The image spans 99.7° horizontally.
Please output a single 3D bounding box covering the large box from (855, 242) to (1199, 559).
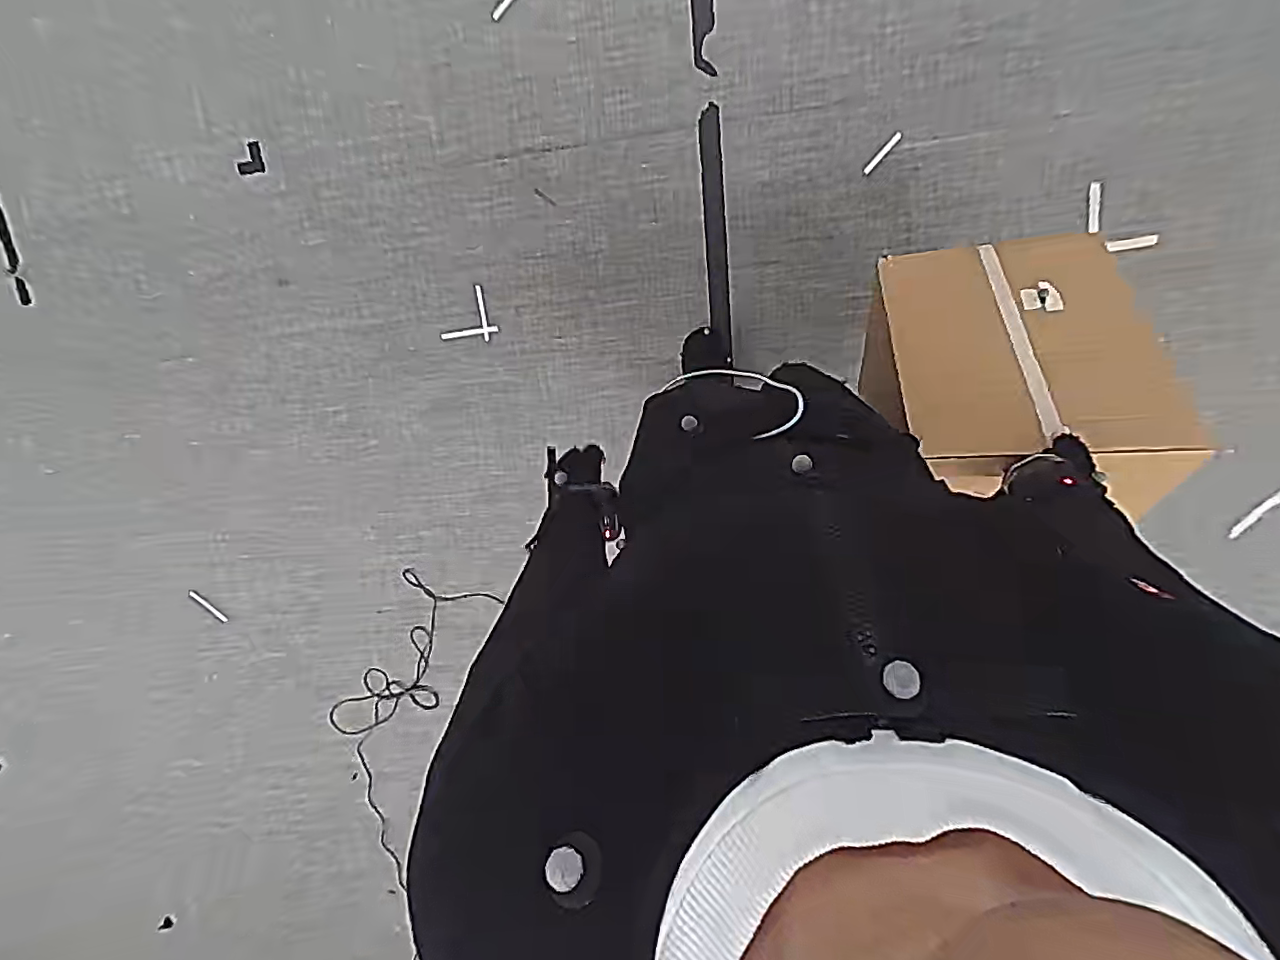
[{"bbox_3d":[0.550,-0.116,0.884,0.320,0.408,0.320,-1,146,12],"label":"large box"}]
